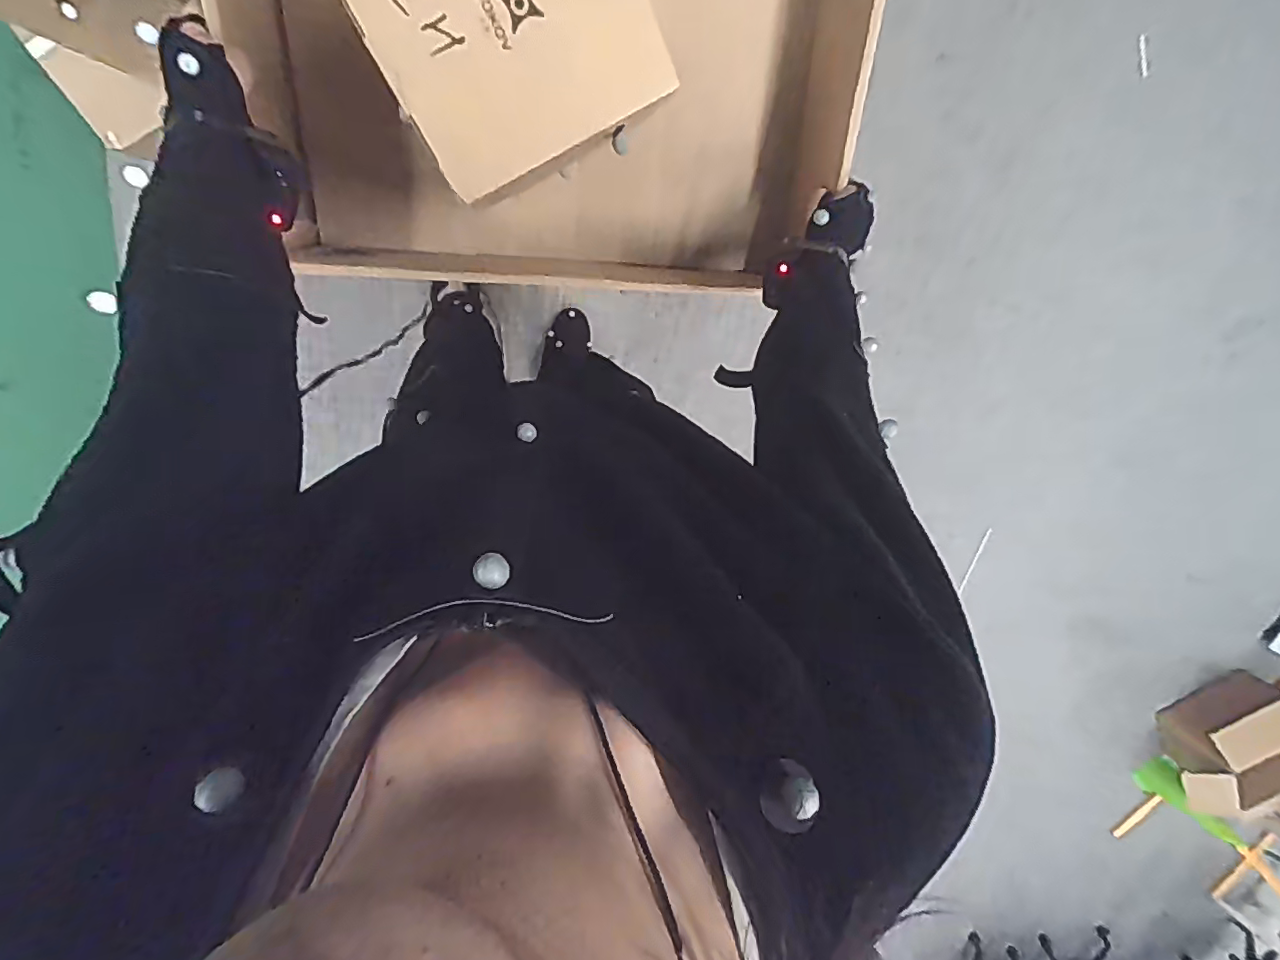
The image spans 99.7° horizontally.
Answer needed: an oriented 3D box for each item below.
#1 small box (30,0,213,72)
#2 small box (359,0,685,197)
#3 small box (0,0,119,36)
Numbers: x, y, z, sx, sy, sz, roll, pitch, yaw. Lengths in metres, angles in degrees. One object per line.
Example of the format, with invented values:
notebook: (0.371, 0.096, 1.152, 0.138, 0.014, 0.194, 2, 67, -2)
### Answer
small box: (-0.761, -0.717, 0.747, 0.168, 0.176, 0.179, -26, 114, 2)
small box: (-0.092, -0.334, 0.403, 0.179, 0.176, 0.168, -27, 116, 3)
small box: (-0.732, -0.654, 0.599, 0.168, 0.176, 0.179, -28, 113, 4)
